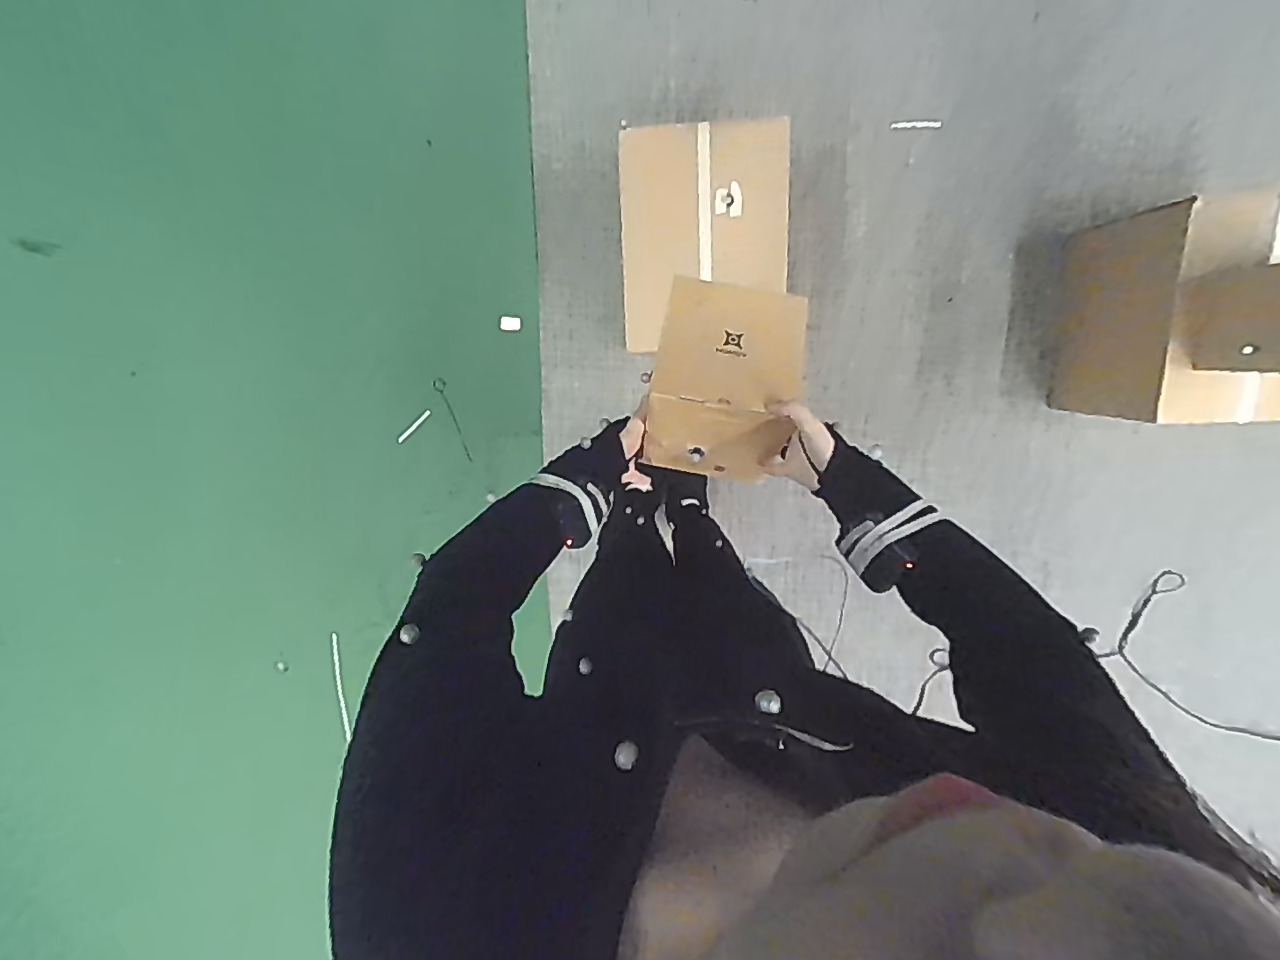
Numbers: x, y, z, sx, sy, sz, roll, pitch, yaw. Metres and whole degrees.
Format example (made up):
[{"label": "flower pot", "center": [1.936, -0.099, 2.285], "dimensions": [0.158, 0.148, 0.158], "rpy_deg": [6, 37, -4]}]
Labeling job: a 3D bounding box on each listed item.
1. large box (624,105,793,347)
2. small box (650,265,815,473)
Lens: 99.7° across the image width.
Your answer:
[{"label": "large box", "center": [0.144, -0.504, 1.165], "dimensions": [0.320, 0.320, 0.408], "rpy_deg": [-1, 102, 5]}, {"label": "small box", "center": [0.108, -0.131, 0.677], "dimensions": [0.168, 0.176, 0.179], "rpy_deg": [10, 68, 2]}]
